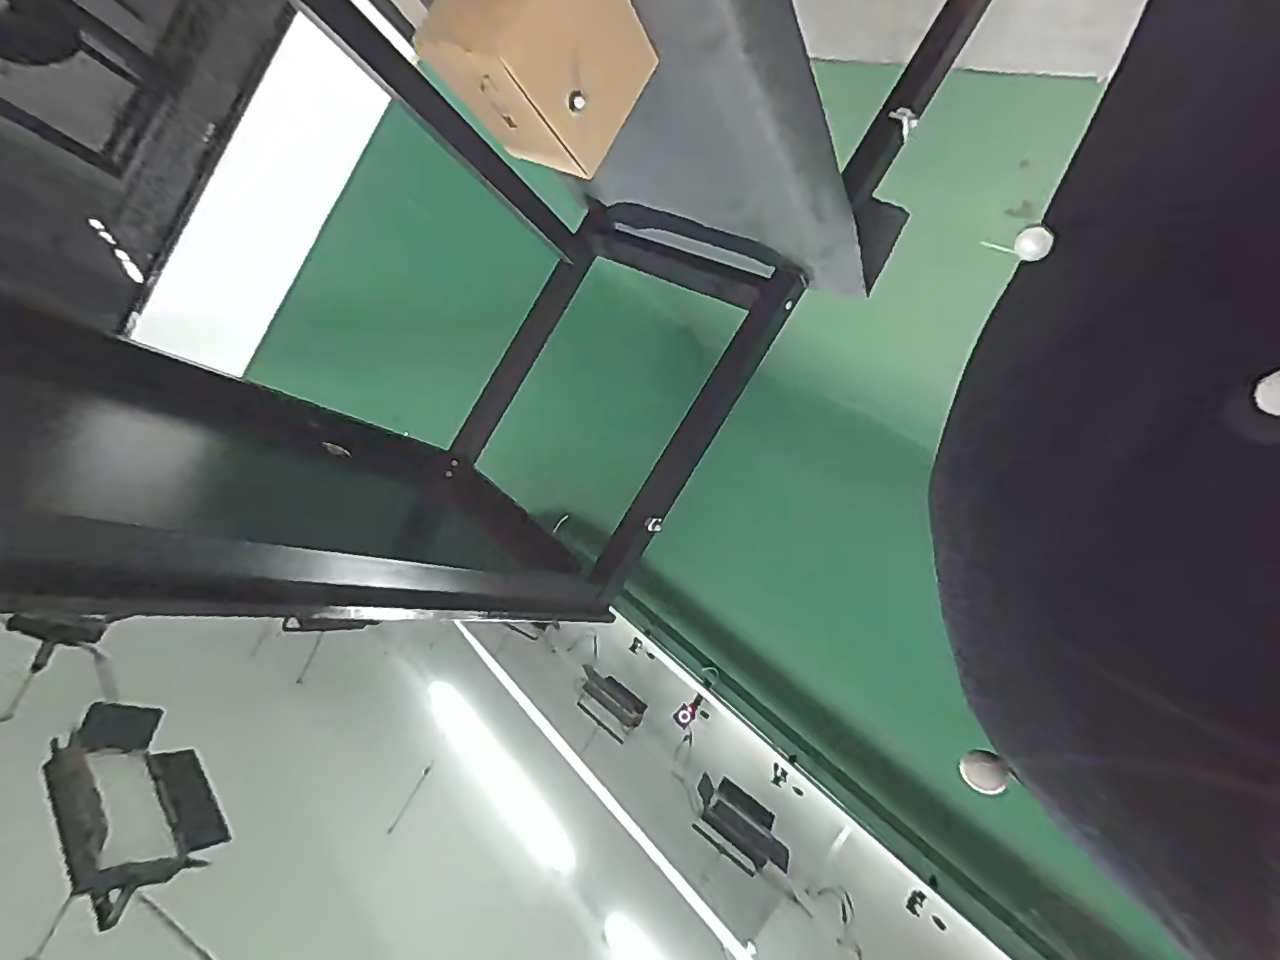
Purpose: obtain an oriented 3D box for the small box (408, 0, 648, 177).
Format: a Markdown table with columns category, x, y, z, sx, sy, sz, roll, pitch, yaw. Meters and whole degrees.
| category | x | y | z | sx | sy | sz | roll | pitch | yaw |
| --- | --- | --- | --- | --- | --- | --- | --- | --- | --- |
| small box | -0.119 | -0.500 | 0.627 | 0.168 | 0.176 | 0.179 | 33 | -176 | 29 |
